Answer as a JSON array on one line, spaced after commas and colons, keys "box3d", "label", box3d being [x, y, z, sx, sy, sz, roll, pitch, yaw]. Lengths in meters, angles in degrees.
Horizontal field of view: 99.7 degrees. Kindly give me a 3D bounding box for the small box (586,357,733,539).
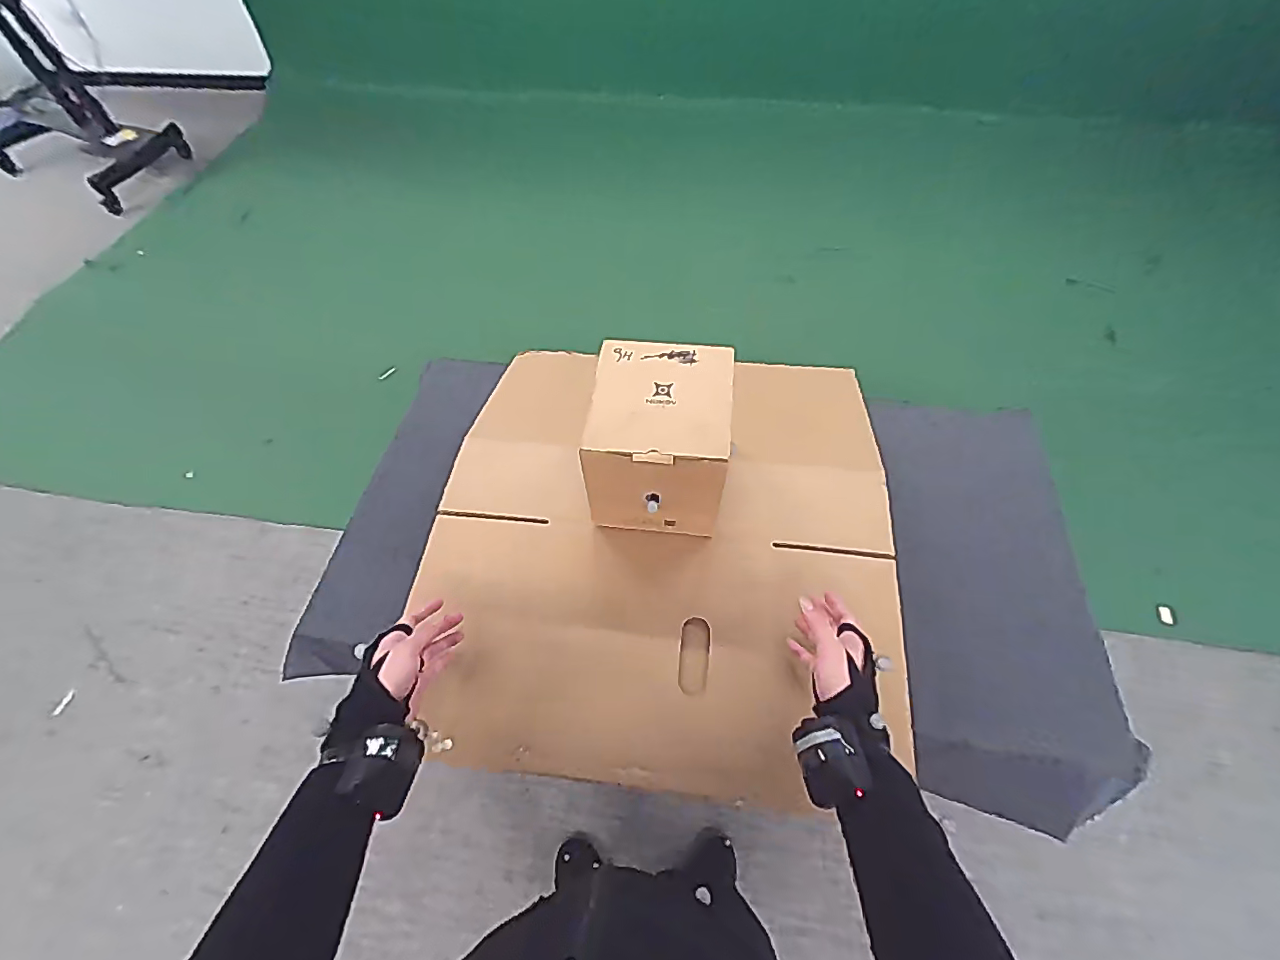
[{"box3d": [0.032, -0.037, 0.703, 0.168, 0.176, 0.179, 3, 56, 5], "label": "small box"}]
